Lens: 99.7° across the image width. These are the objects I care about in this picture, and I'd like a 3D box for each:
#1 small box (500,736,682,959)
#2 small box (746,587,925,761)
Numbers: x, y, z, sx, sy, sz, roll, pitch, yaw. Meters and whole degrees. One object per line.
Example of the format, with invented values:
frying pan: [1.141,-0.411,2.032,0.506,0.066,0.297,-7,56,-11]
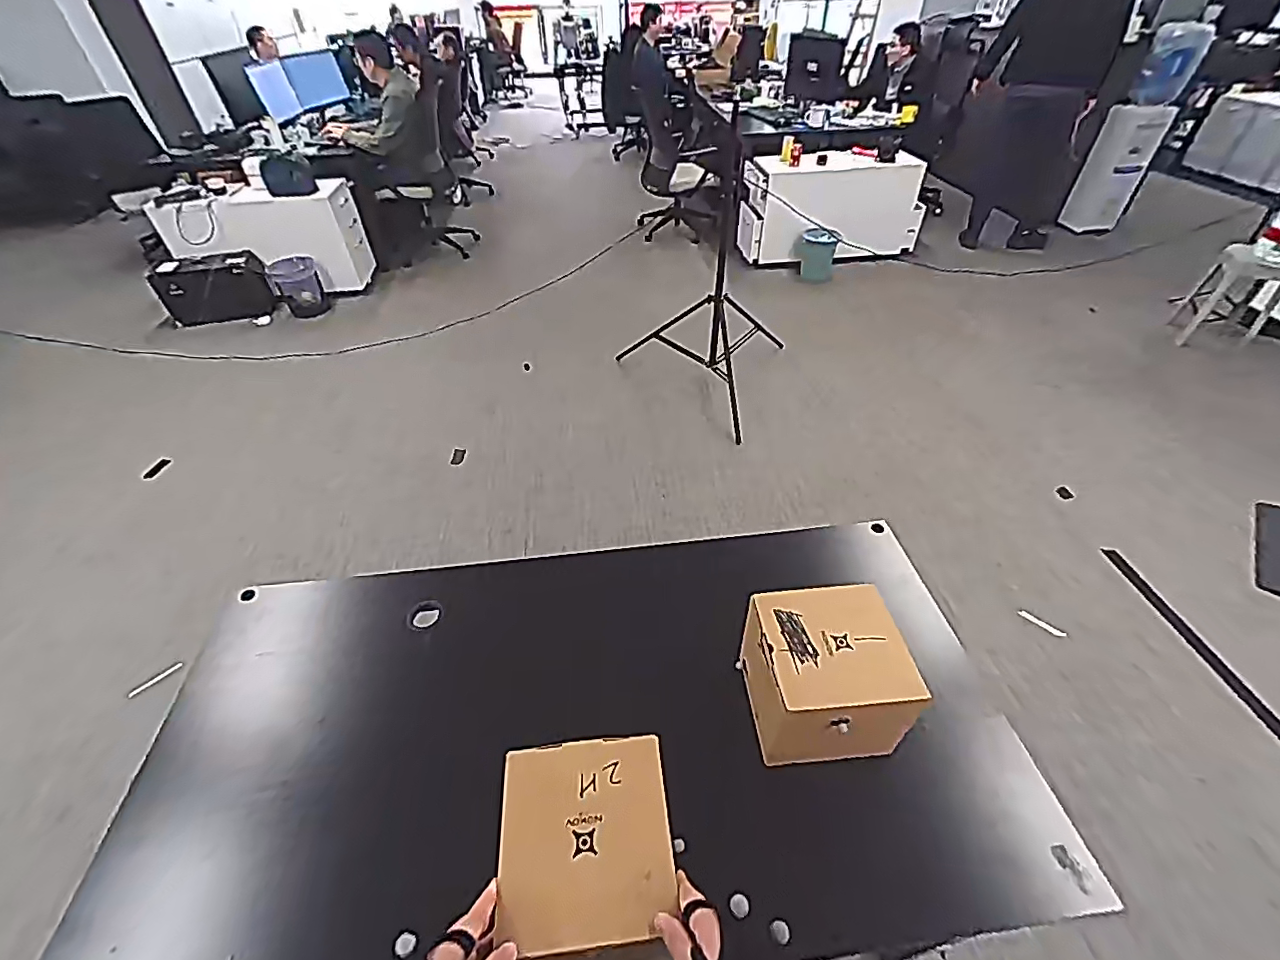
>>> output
small box: [-0.048,0.409,0.587,0.168,0.176,0.179,-4,41,-5]
small box: [0.249,0.269,0.746,0.179,0.176,0.168,-4,43,-3]
